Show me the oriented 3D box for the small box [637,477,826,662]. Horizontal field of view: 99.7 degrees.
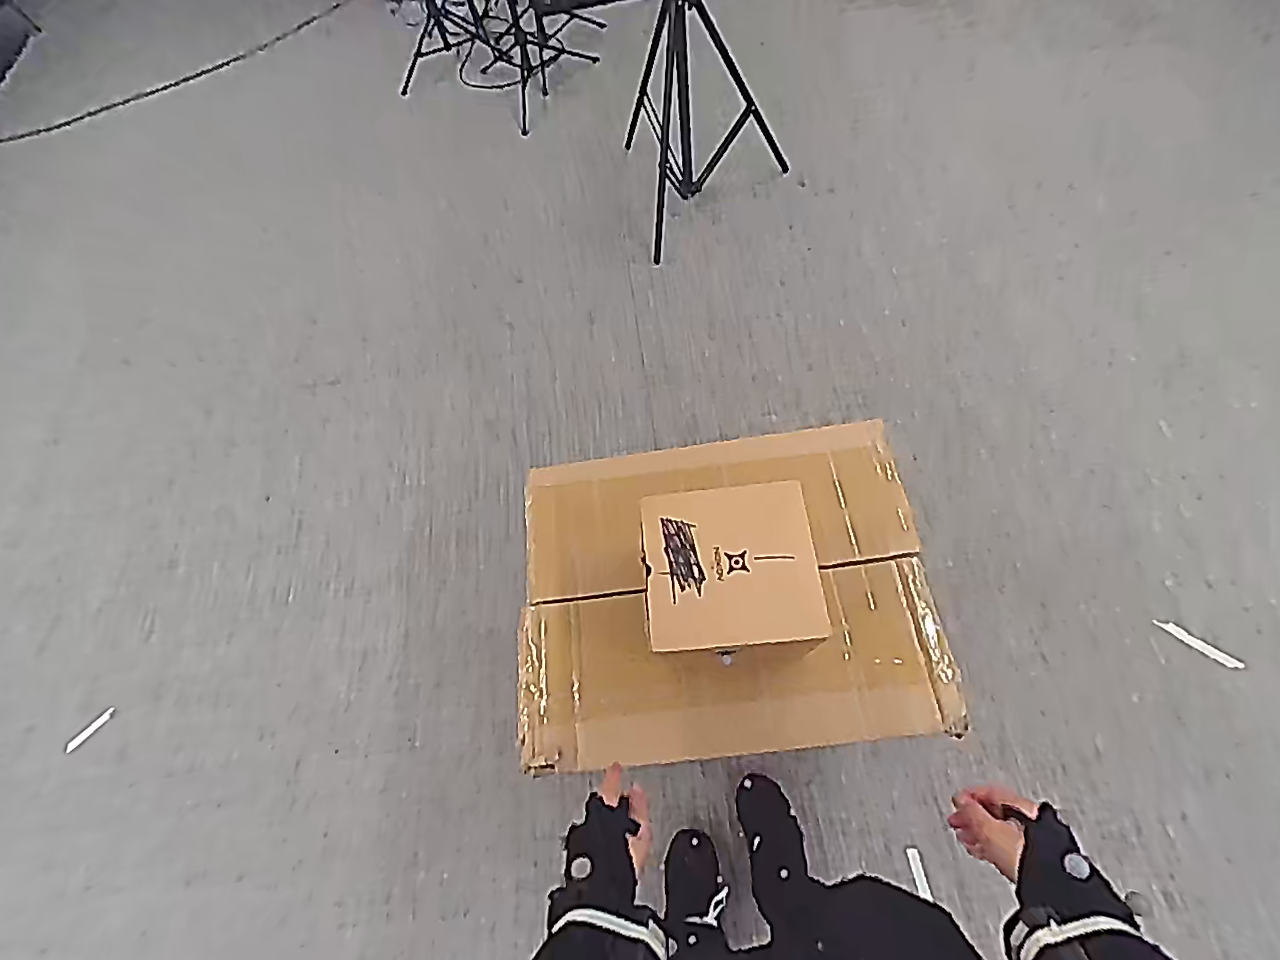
[{"bbox_3d":[0.097,0.112,0.623,0.179,0.176,0.168,-7,66,5],"label":"small box"}]
